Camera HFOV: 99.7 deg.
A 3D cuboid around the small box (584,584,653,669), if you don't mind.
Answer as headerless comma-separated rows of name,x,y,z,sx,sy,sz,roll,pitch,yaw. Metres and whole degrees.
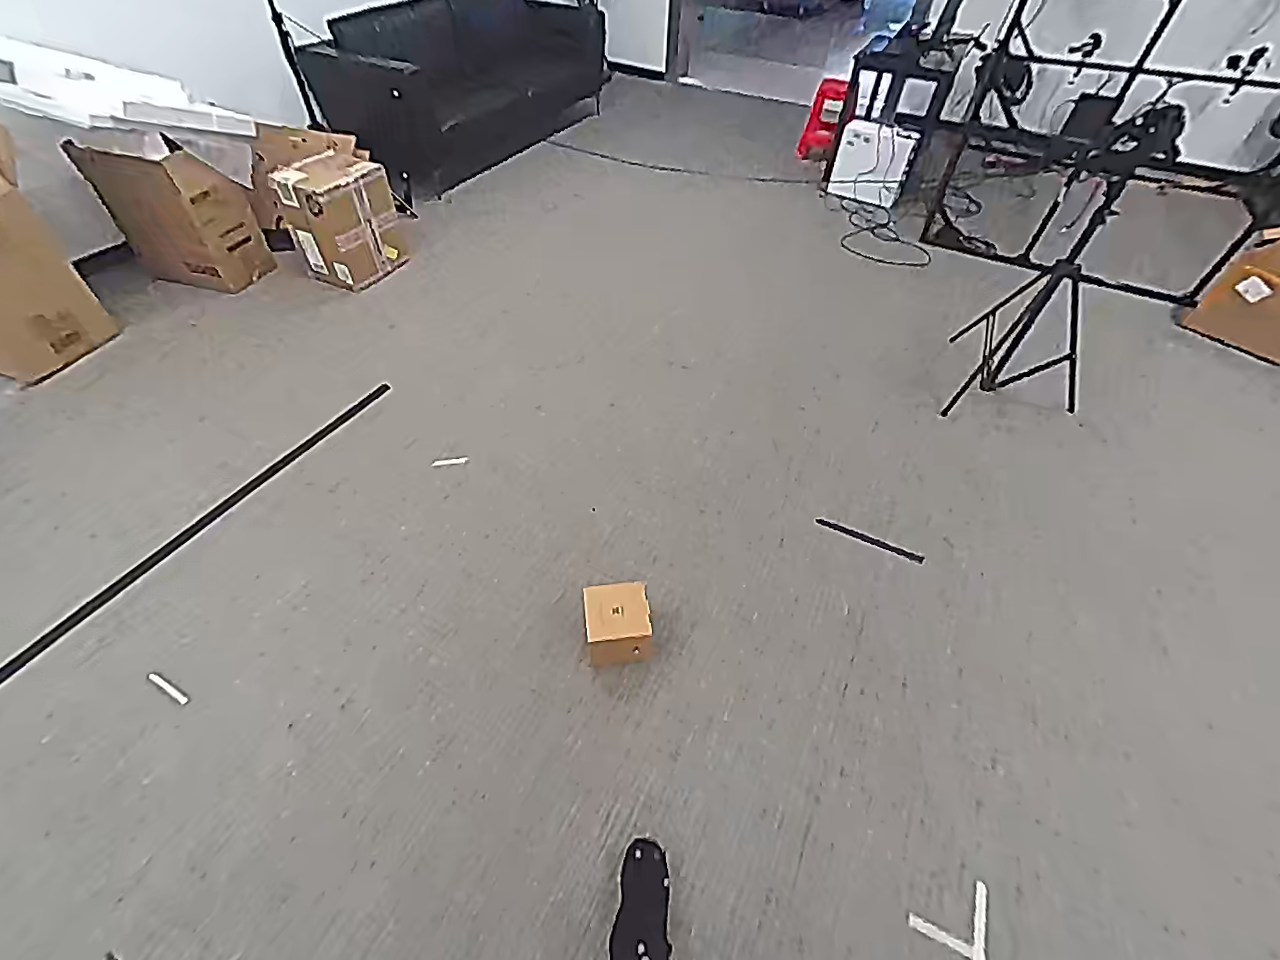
small box,-0.064,0.417,1.528,0.179,0.176,0.168,-6,48,-7
